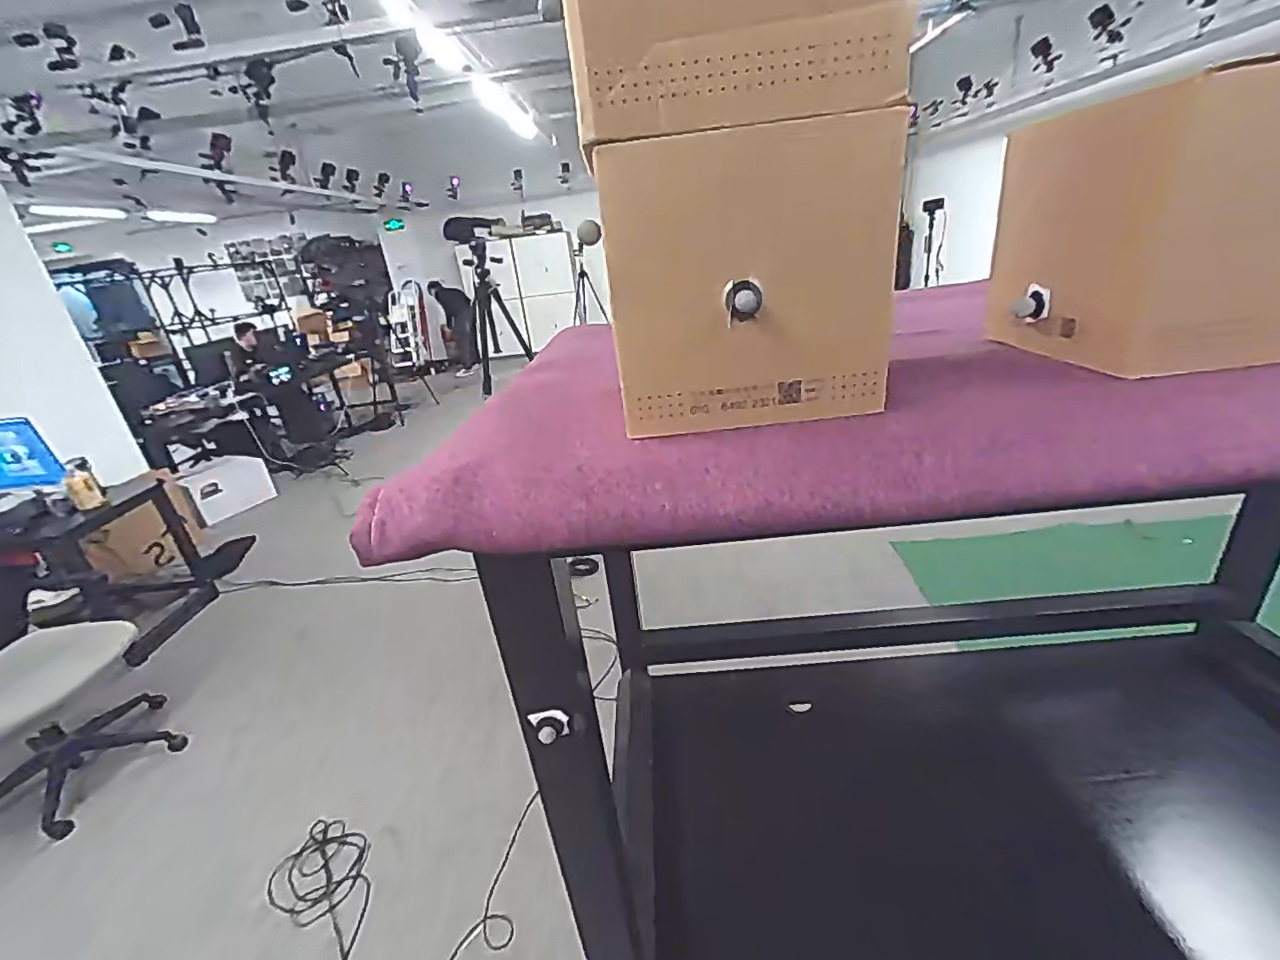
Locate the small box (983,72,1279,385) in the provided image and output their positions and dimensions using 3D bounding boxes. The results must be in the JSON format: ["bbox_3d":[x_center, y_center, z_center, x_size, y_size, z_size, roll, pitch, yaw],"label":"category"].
[{"bbox_3d":[0.387,-0.175,0.392,0.179,0.176,0.168,-7,22,3],"label":"small box"}]

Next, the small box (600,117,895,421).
[{"bbox_3d":[0.067,-0.144,0.401,0.168,0.176,0.179,-5,23,2],"label":"small box"}]

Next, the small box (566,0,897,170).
[{"bbox_3d":[0.044,-0.291,0.335,0.179,0.176,0.168,-6,24,0],"label":"small box"}]
